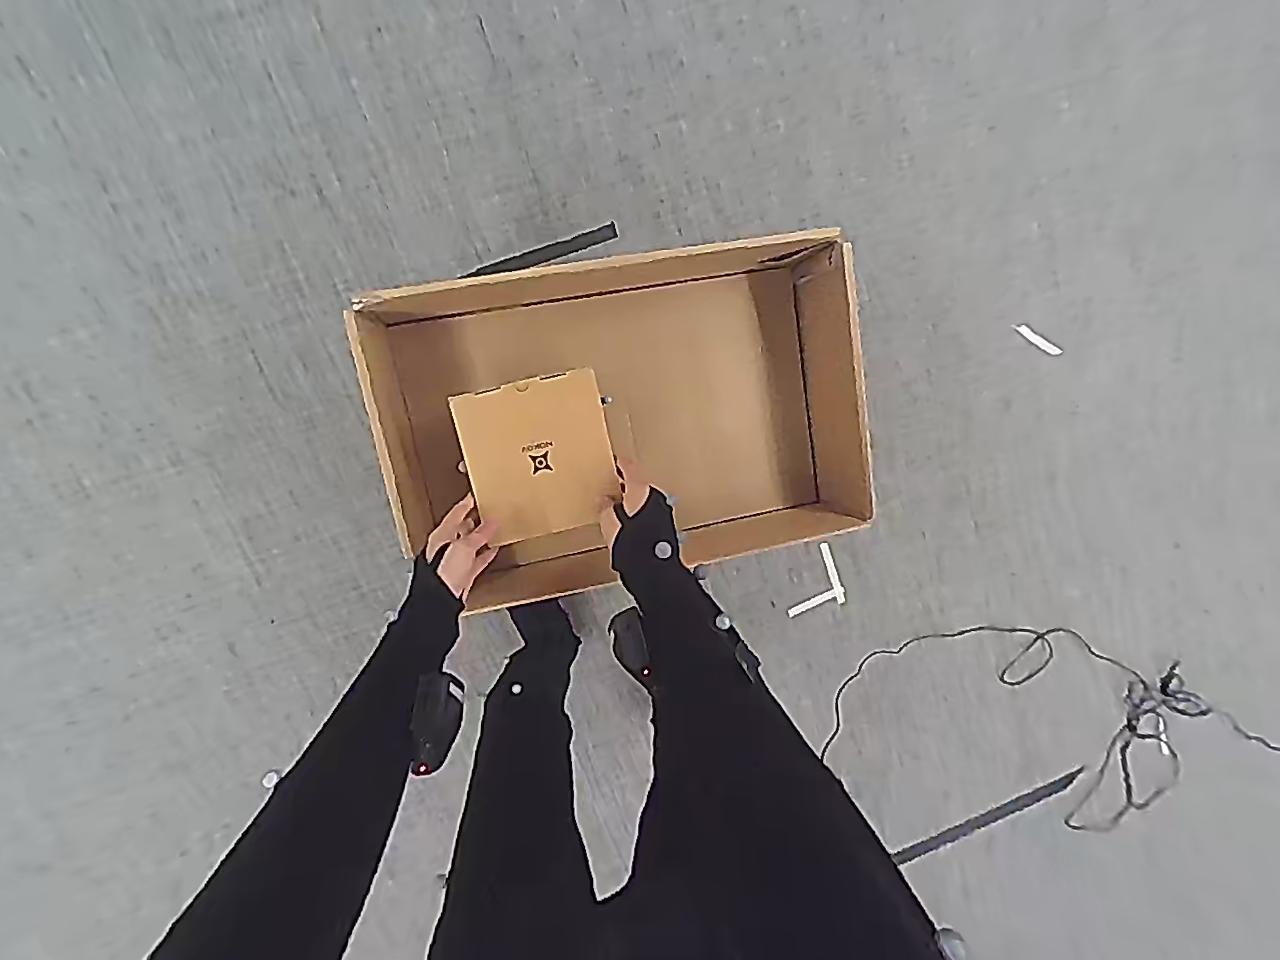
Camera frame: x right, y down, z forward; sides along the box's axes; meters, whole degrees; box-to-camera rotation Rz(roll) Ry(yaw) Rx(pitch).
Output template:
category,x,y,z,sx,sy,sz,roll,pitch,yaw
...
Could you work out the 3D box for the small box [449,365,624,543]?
category,x,y,z,sx,sy,sz,roll,pitch,yaw
small box,-0.118,-0.039,0.683,0.168,0.176,0.179,-13,98,-2
